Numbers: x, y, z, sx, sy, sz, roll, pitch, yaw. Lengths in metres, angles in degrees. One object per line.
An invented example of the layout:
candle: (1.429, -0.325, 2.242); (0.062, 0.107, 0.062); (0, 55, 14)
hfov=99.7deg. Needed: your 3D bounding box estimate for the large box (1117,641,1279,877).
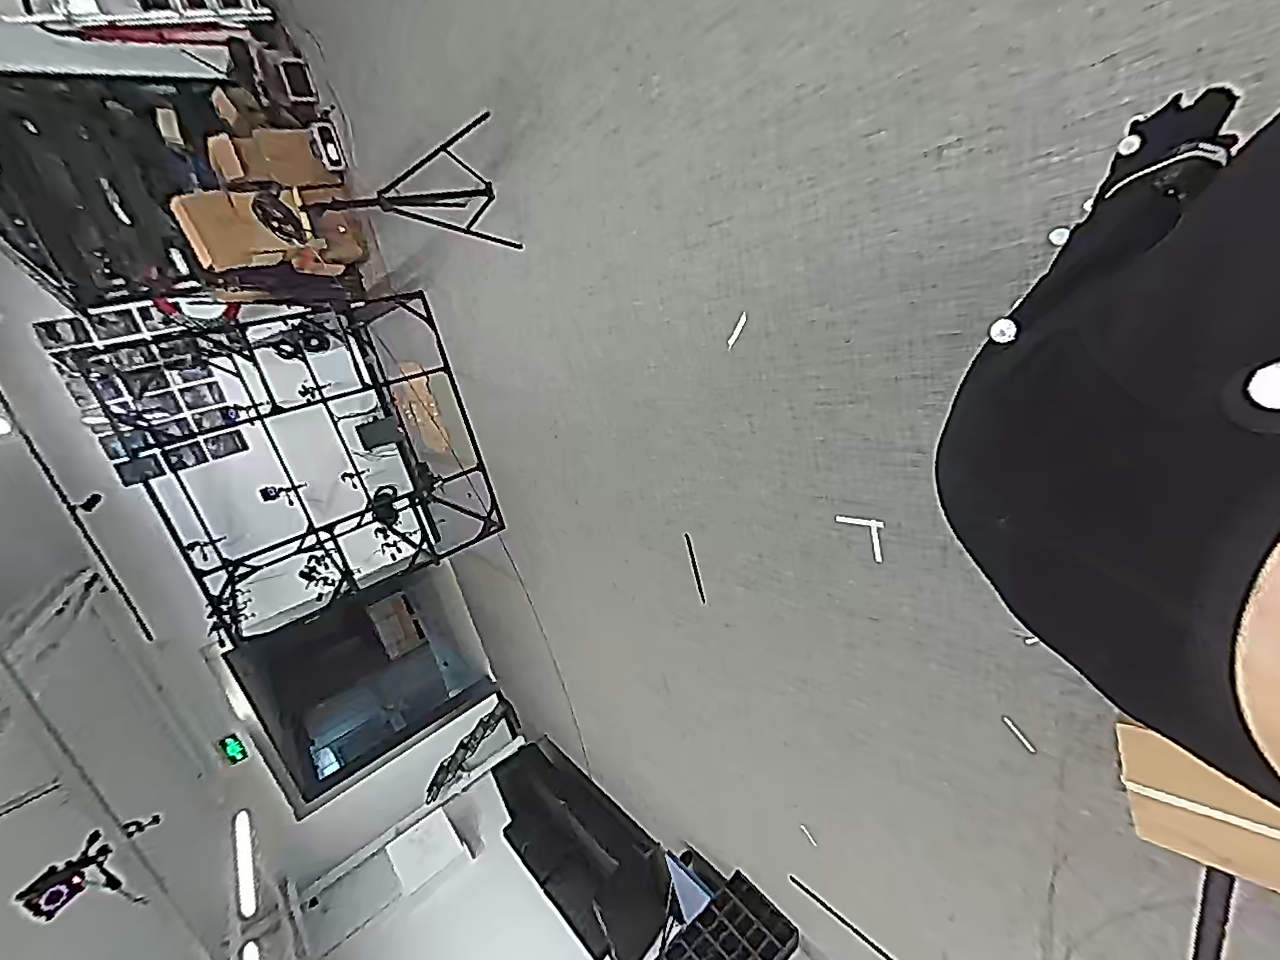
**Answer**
large box: (1.292, 0.571, 1.106); (0.408, 0.320, 0.320); (-3, 109, 54)
